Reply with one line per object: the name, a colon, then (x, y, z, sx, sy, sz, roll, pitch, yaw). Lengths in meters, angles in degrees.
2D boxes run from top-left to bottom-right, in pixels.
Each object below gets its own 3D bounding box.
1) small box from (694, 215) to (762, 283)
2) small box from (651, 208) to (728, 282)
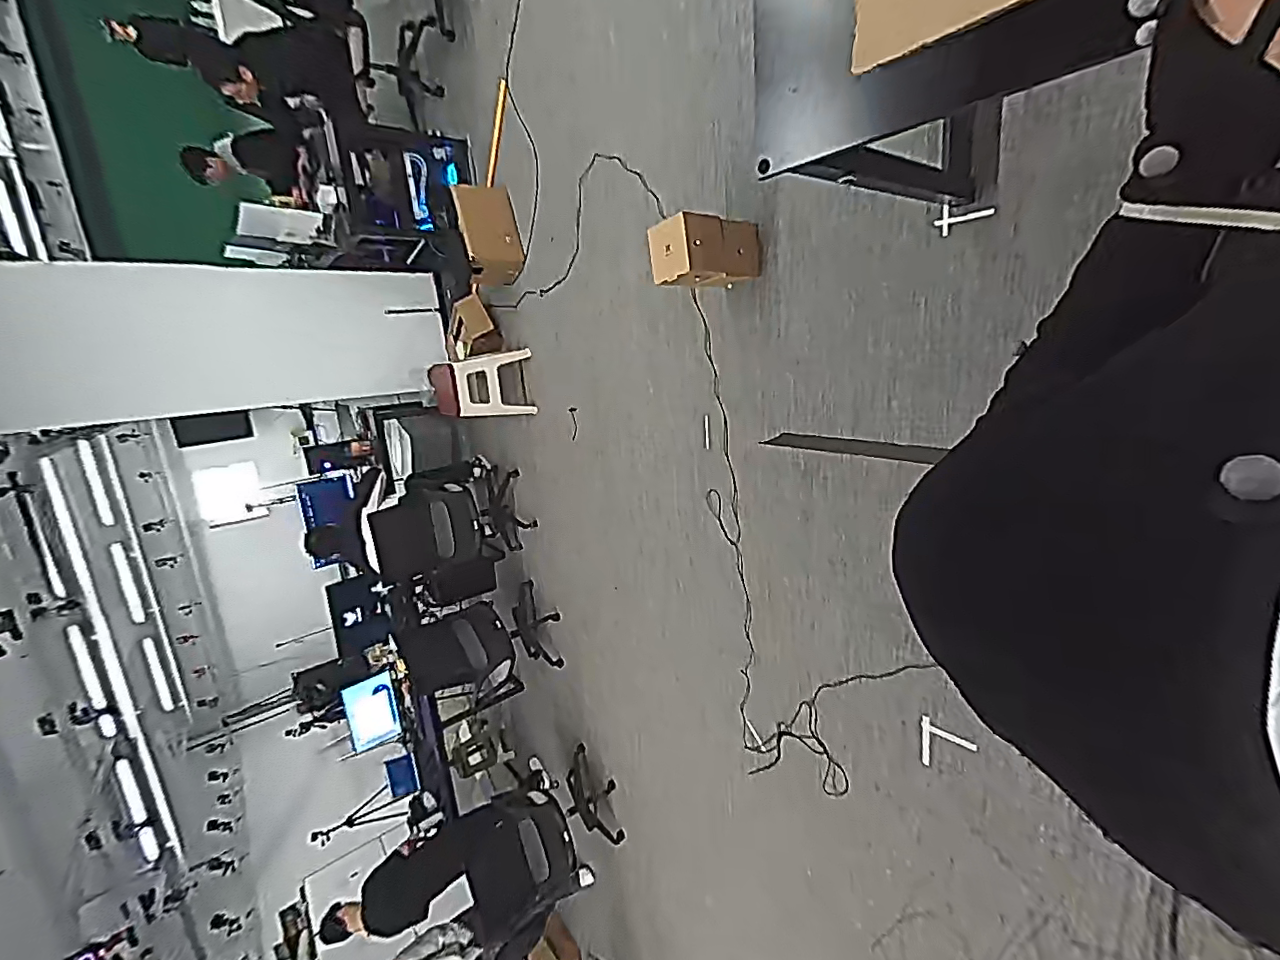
small box: (0.288, -0.761, 1.801, 0.168, 0.176, 0.179, 8, 108, 52)
small box: (0.160, -0.734, 1.705, 0.168, 0.176, 0.179, 2, 102, 52)
